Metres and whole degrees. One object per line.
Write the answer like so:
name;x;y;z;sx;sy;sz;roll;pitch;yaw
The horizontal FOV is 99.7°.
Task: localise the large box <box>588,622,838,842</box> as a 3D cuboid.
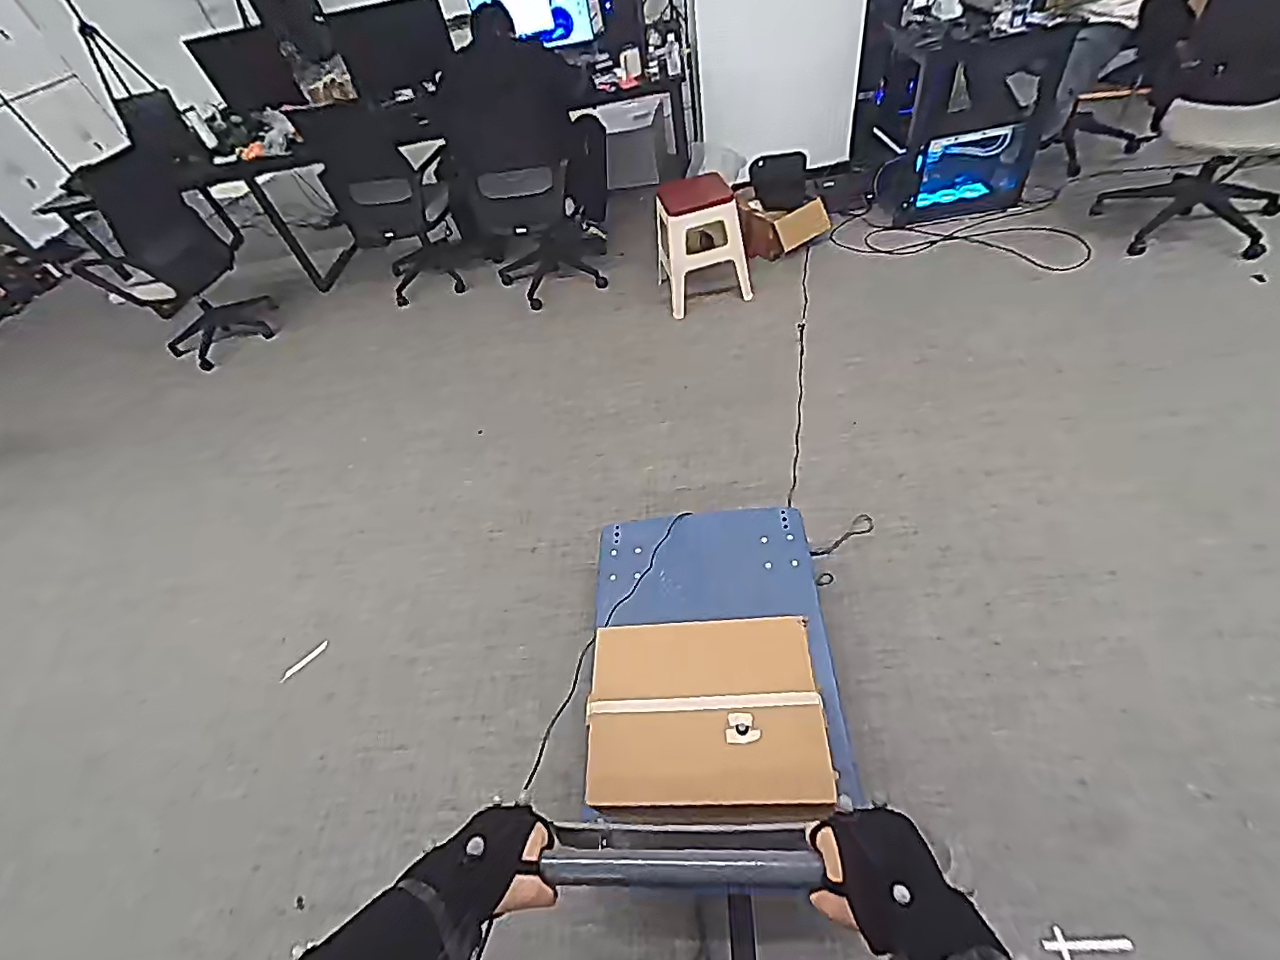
large box;0.131;0.499;1.054;0.408;0.320;0.320;-6;51;8
